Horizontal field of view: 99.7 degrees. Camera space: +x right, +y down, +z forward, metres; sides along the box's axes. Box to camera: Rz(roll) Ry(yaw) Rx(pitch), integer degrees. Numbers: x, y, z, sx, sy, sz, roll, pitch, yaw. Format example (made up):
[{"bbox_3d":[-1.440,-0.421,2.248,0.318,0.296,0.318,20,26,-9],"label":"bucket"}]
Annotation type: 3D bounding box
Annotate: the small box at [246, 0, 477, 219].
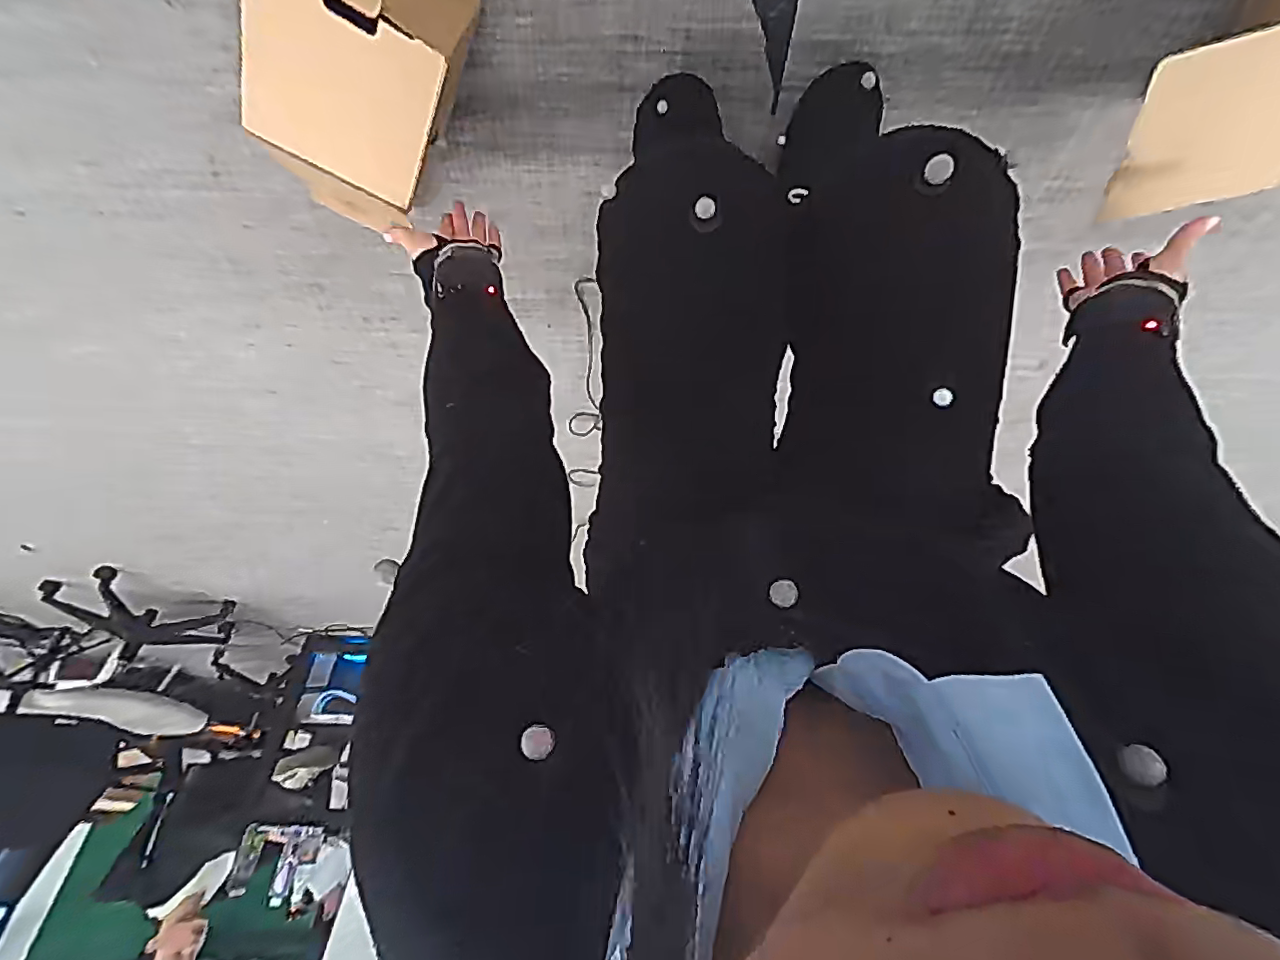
[{"bbox_3d":[-0.287,-0.431,0.573,0.168,0.176,0.179,20,141,-25],"label":"small box"}]
